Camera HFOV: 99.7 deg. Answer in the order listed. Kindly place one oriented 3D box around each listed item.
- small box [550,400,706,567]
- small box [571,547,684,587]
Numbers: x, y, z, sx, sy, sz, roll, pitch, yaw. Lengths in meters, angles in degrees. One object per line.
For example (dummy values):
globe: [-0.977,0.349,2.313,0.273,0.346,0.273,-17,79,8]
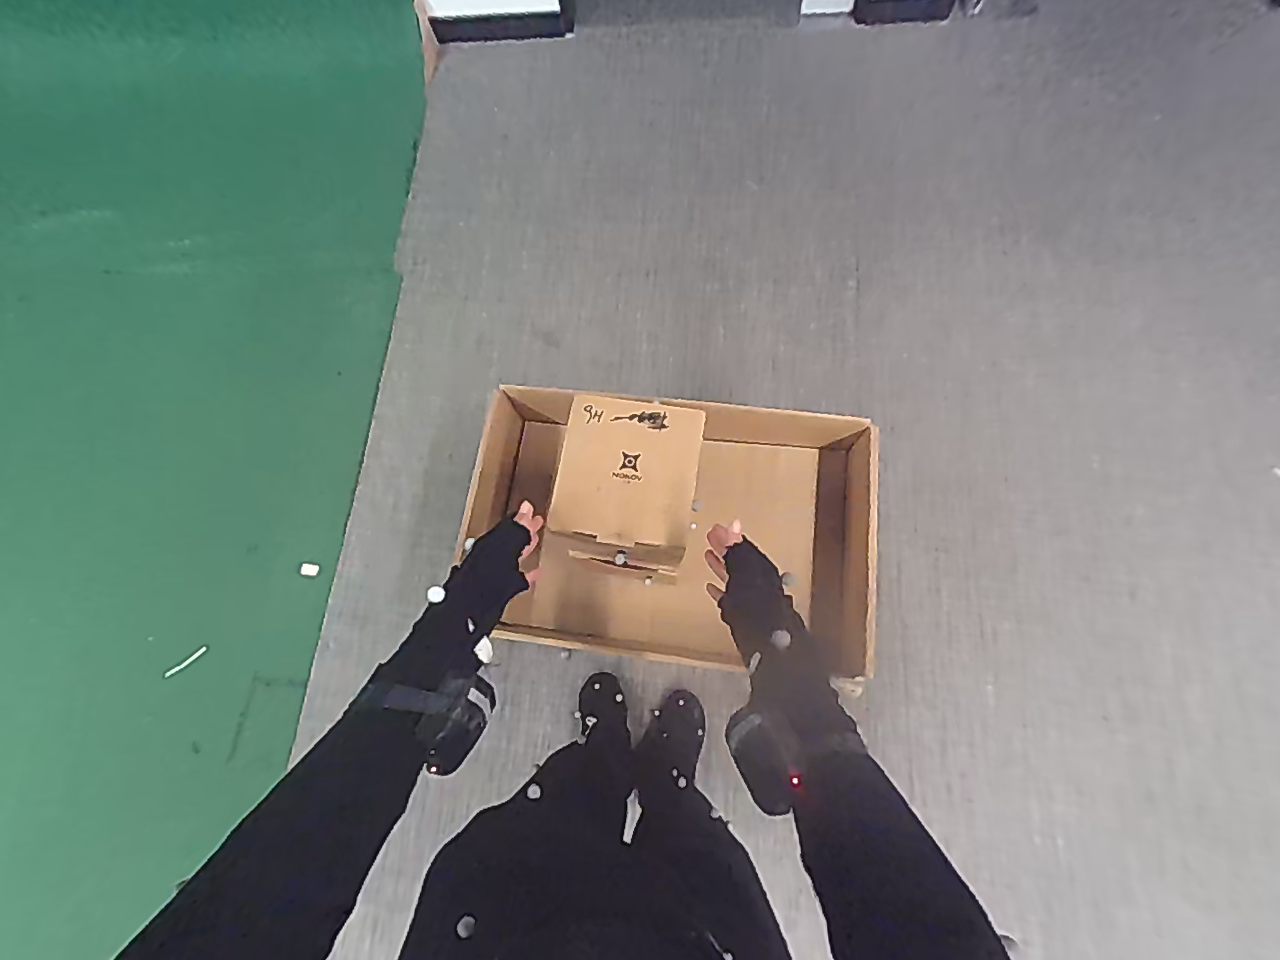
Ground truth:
small box: [-0.008,0.015,0.721,0.168,0.176,0.179,8,76,5]
small box: [-0.002,0.070,0.875,0.168,0.176,0.179,9,73,5]
